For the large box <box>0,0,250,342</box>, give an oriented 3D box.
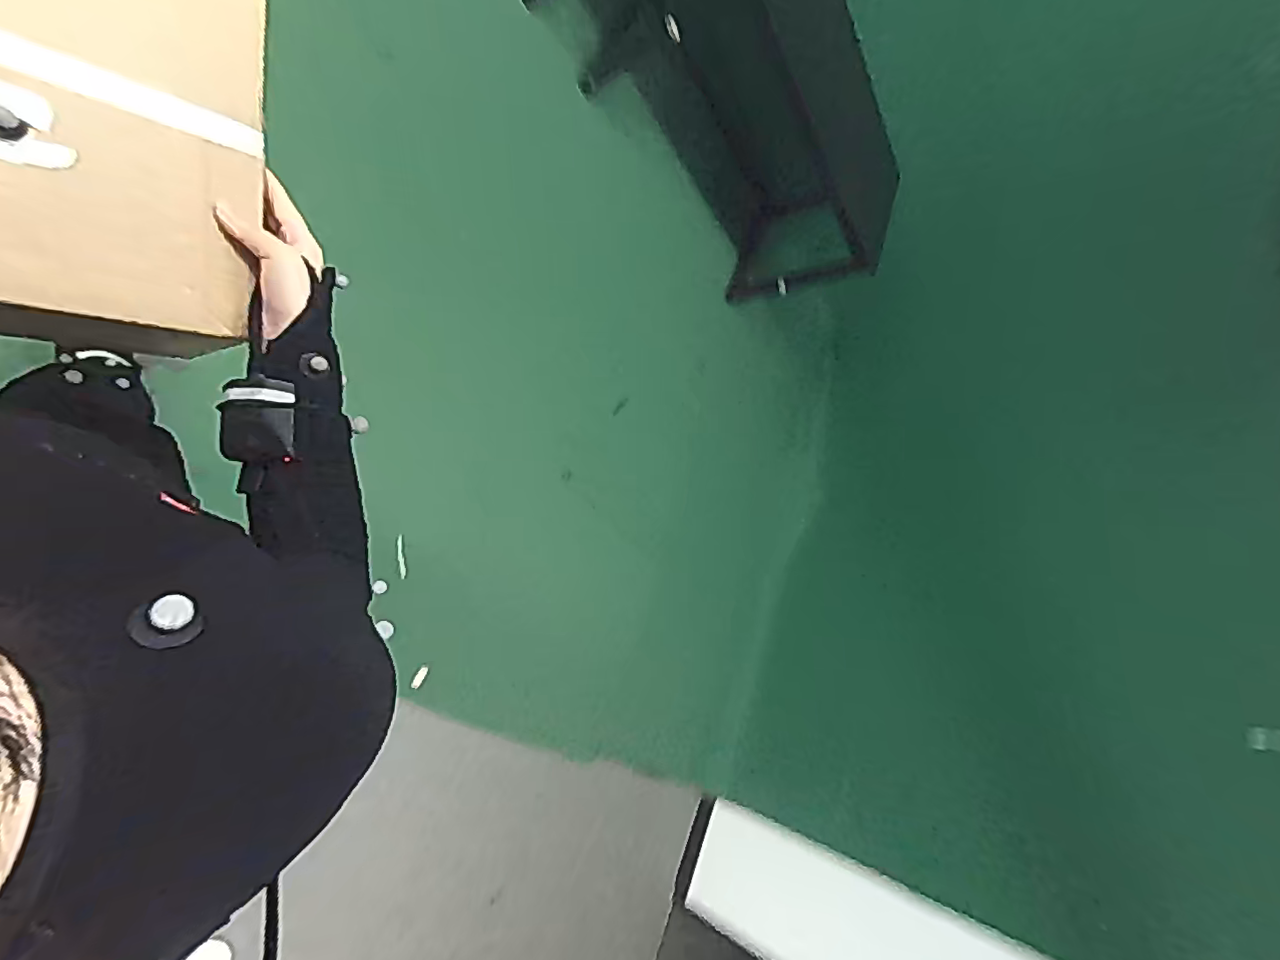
[{"bbox_3d":[-0.568,-0.292,0.391,0.408,0.320,0.320,-3,98,-49],"label":"large box"}]
